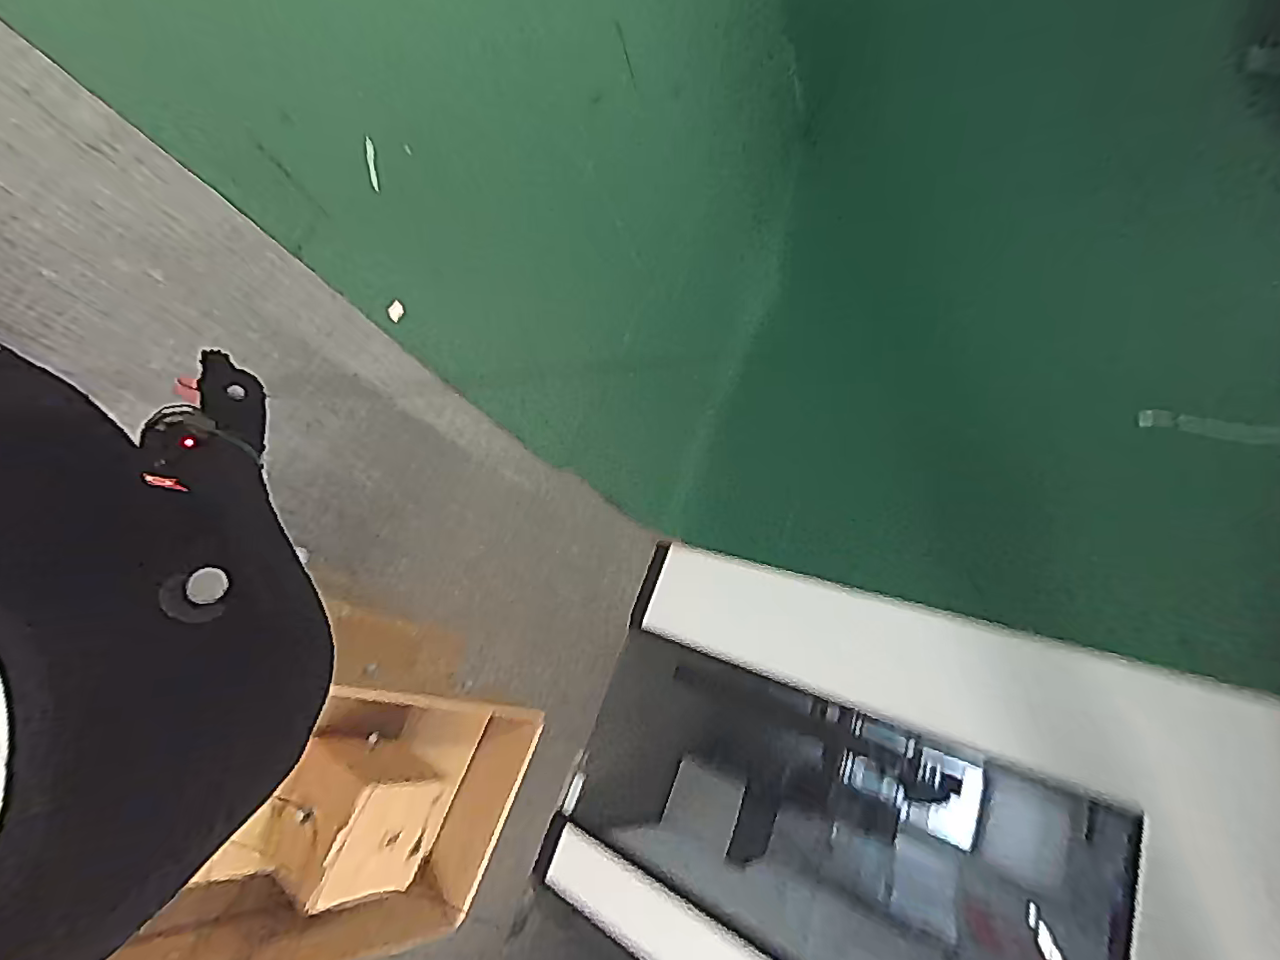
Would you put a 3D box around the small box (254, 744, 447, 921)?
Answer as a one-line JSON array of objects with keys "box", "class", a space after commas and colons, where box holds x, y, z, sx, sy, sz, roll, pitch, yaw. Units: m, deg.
[{"box": [-0.449, 0.531, 0.842, 0.179, 0.176, 0.168, 43, 65, -52], "class": "small box"}]
